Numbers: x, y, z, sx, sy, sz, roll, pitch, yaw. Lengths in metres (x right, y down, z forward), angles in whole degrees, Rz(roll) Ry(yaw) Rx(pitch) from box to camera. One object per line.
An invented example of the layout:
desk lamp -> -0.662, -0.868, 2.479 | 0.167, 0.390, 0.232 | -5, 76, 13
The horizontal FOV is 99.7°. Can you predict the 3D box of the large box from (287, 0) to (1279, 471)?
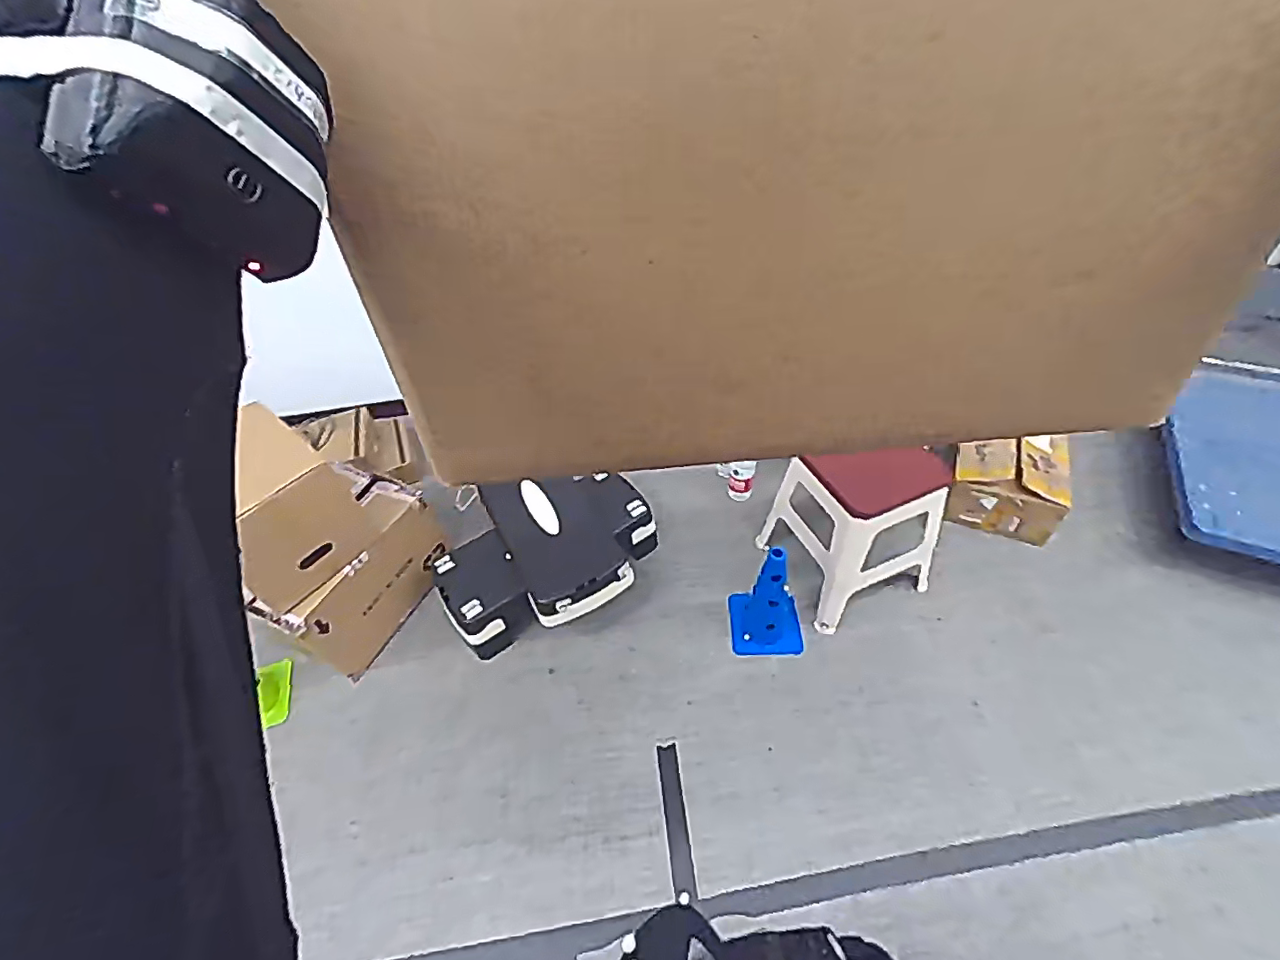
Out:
large box -> 0.069, -0.228, 0.331 | 0.408, 0.320, 0.320 | -4, 40, 0
